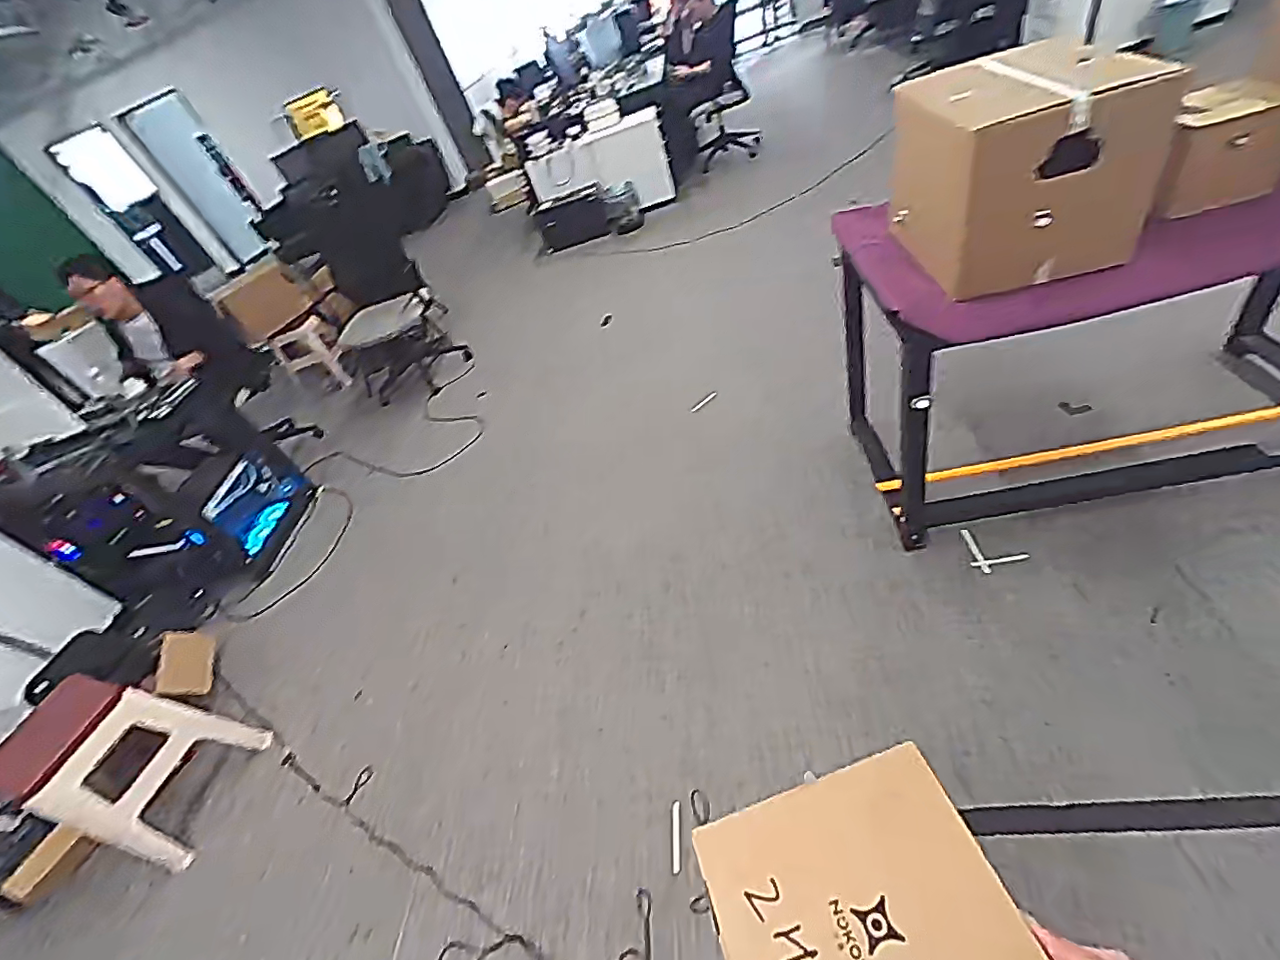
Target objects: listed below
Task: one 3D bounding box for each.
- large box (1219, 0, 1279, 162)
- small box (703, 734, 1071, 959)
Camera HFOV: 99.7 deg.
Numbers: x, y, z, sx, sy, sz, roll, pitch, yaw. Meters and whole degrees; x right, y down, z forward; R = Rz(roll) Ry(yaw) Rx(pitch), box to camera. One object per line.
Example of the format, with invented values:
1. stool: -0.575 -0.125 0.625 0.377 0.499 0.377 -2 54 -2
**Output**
1. large box: 1.387 -0.758 0.940 0.320 0.320 0.408 -12 41 12
2. small box: 0.165 0.313 0.381 0.179 0.176 0.168 -23 44 2
